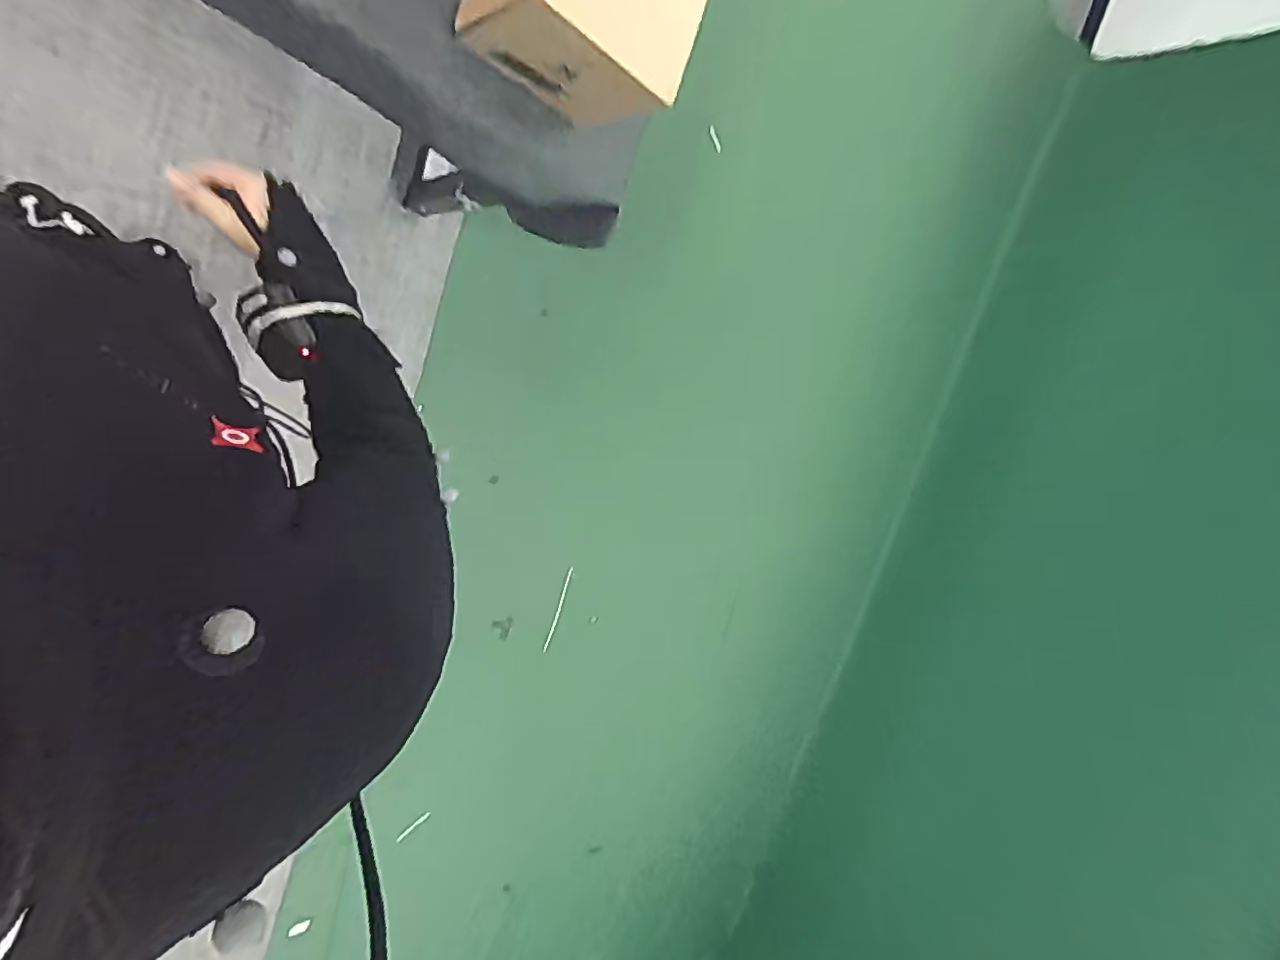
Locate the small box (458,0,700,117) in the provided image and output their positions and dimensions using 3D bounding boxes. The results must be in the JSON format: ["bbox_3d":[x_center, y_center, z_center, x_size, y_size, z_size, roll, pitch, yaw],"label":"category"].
[{"bbox_3d":[-0.049,-0.493,0.527,0.168,0.179,0.176,7,107,-44],"label":"small box"}]
